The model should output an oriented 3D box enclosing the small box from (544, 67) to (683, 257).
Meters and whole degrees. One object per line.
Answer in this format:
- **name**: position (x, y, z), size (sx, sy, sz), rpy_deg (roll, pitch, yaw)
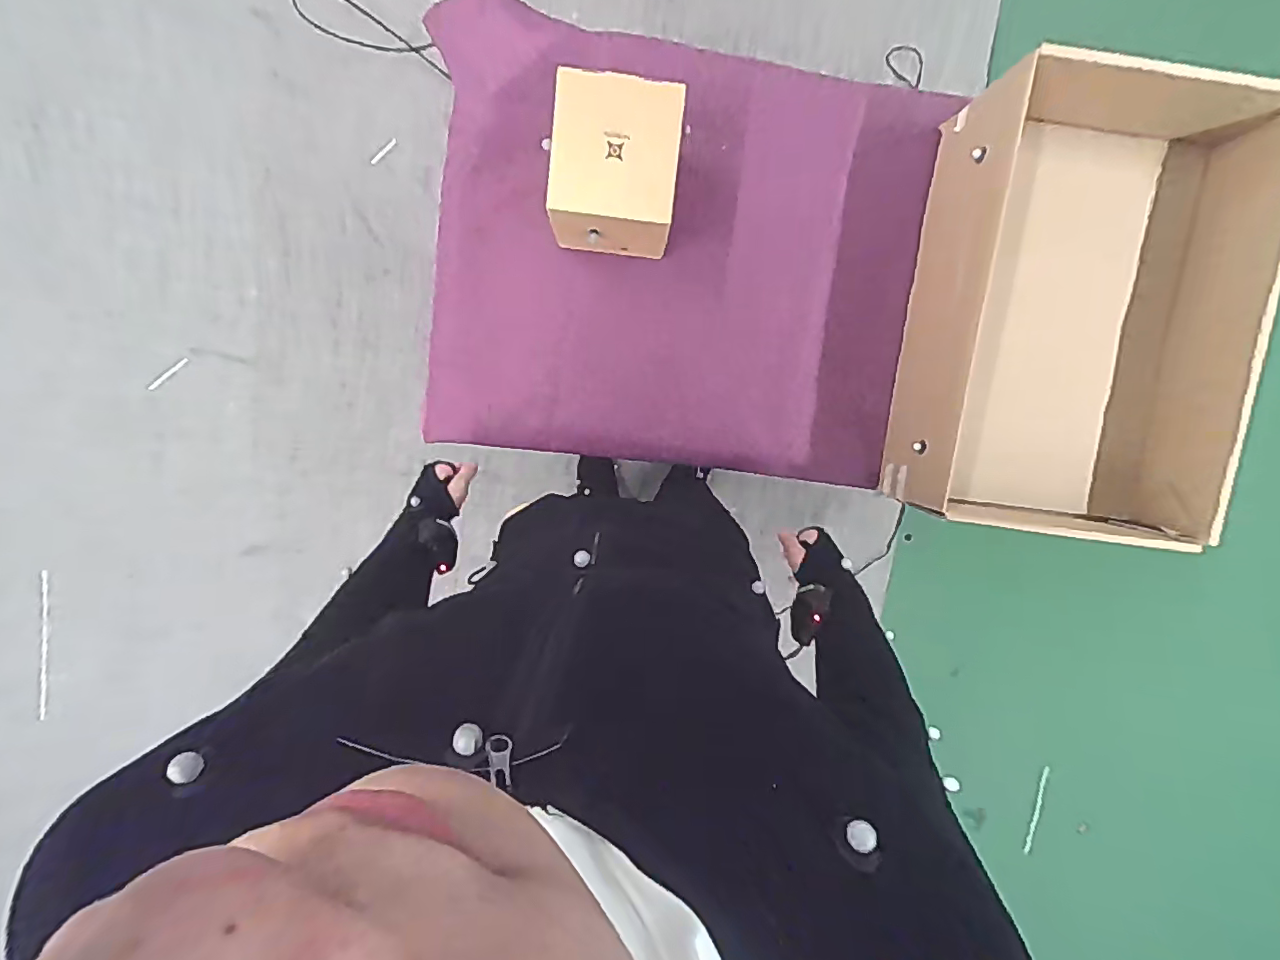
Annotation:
- **small box**: position (-0.037, -0.435, 0.772), size (0.168, 0.176, 0.179), rpy_deg (6, 95, -3)
